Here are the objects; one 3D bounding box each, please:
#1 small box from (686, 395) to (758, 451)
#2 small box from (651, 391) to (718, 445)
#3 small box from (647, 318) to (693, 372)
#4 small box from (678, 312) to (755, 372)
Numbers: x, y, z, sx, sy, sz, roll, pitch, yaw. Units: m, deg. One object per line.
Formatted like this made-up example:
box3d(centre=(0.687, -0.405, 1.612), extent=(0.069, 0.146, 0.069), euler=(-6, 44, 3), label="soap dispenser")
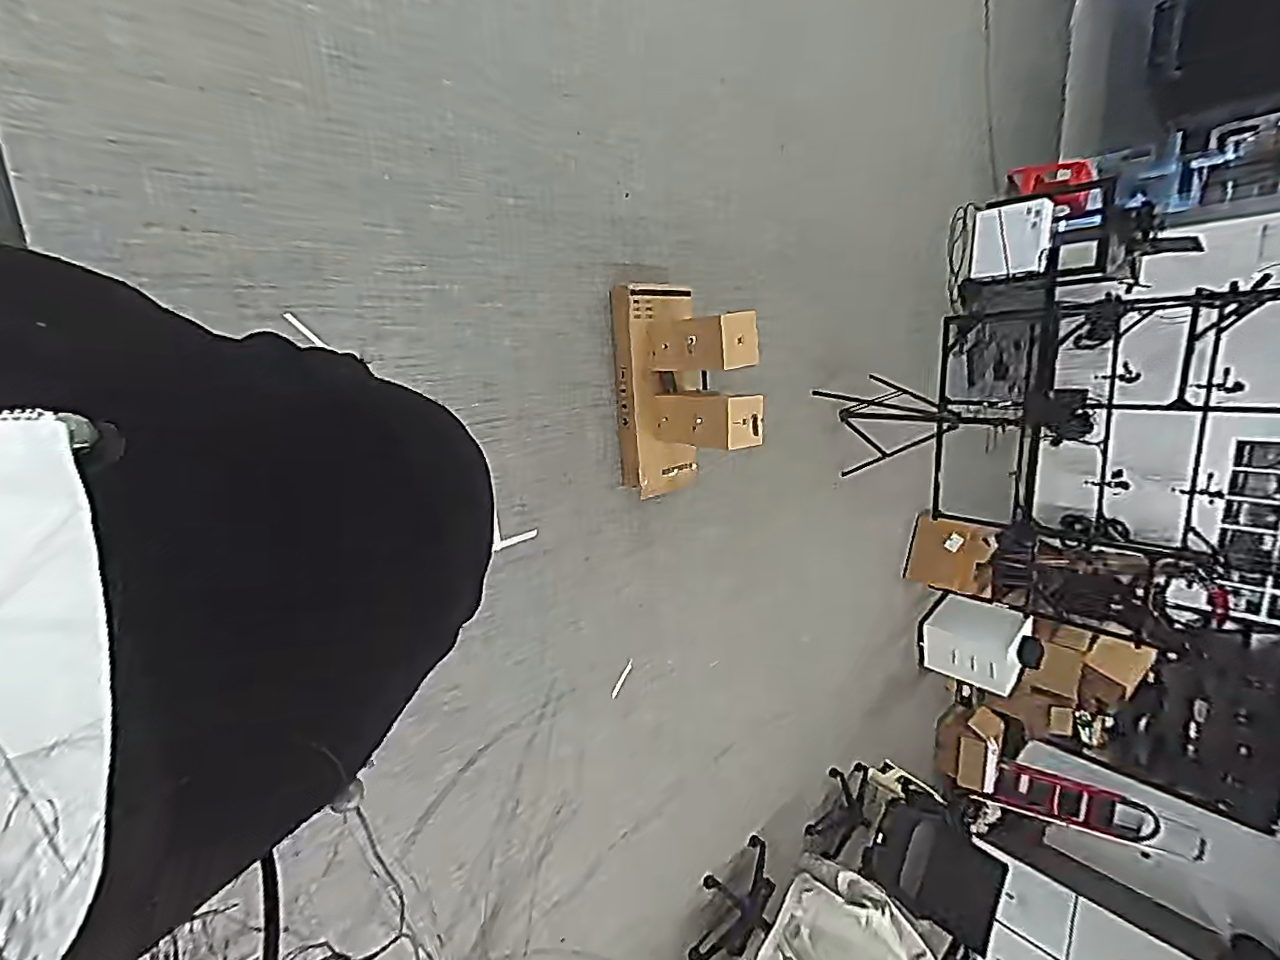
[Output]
box3d(centre=(0.272, -0.194, 1.795), extent=(0.179, 0.176, 0.168), euler=(-12, 105, -40), label="small box")
box3d(centre=(0.160, -0.224, 1.911), extent=(0.179, 0.176, 0.168), euler=(-17, 109, -39), label="small box")
box3d(centre=(0.138, -0.462, 1.848), extent=(0.179, 0.176, 0.168), euler=(-18, 110, -38), label="small box")
box3d(centre=(0.245, -0.440, 1.726), extent=(0.179, 0.176, 0.168), euler=(-21, 110, -37), label="small box")
